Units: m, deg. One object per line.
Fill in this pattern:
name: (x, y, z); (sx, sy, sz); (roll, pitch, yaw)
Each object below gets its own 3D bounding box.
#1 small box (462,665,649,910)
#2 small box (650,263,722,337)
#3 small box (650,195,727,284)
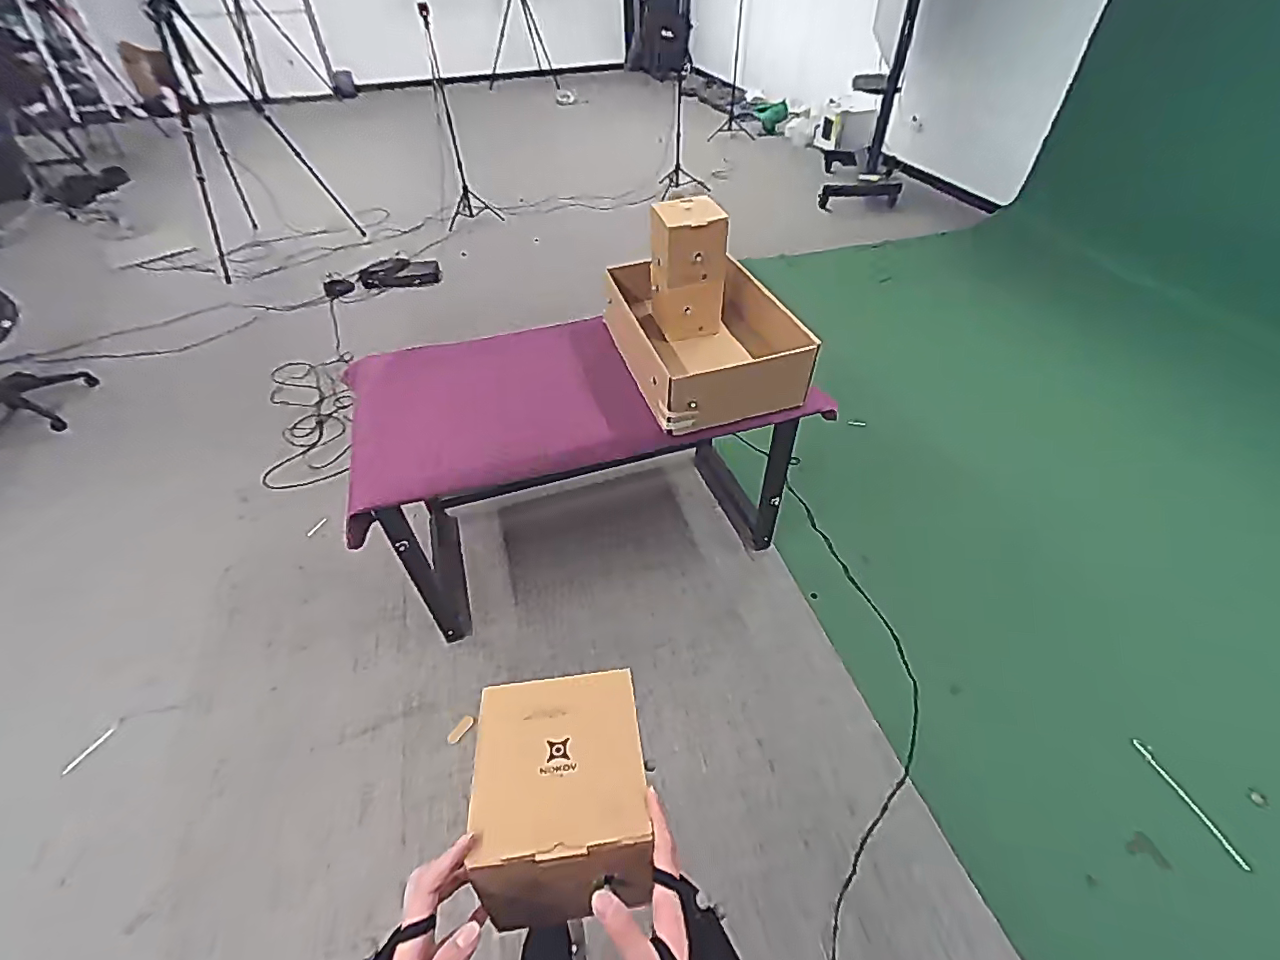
small box: (-0.081, 0.331, 0.584); (0.168, 0.176, 0.179); (-5, 36, -5)
small box: (0.133, -0.537, 1.595); (0.168, 0.176, 0.179); (-13, 48, -9)
small box: (0.128, -0.651, 1.477); (0.168, 0.176, 0.179); (-12, 48, -8)
